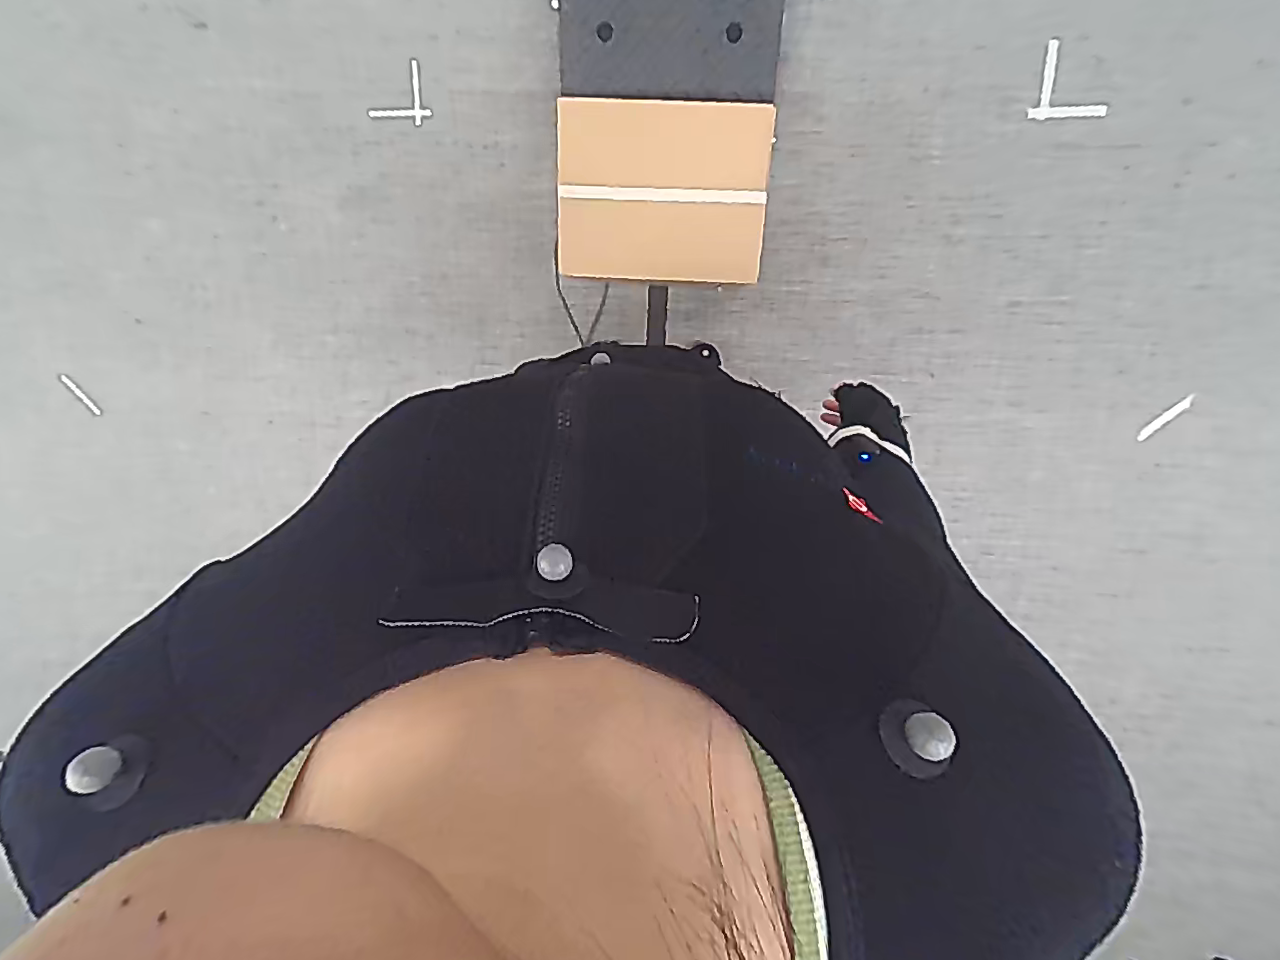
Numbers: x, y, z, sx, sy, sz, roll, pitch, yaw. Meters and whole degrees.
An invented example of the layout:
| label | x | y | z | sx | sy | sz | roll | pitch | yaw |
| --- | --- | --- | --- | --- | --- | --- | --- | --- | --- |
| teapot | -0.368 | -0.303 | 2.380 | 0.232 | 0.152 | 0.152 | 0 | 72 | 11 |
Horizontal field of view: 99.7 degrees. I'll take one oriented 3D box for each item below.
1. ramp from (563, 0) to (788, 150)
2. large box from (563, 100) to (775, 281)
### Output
| label | x | y | z | sx | sy | sz | roll | pitch | yaw |
| --- | --- | --- | --- | --- | --- | --- | --- | --- | --- |
| ramp | 0.079 | -1.191 | 1.108 | 0.509 | 0.206 | 0.991 | 0 | 105 | 2 |
| large box | 0.059 | -0.607 | 1.191 | 0.408 | 0.320 | 0.320 | 3 | 108 | 3 |
